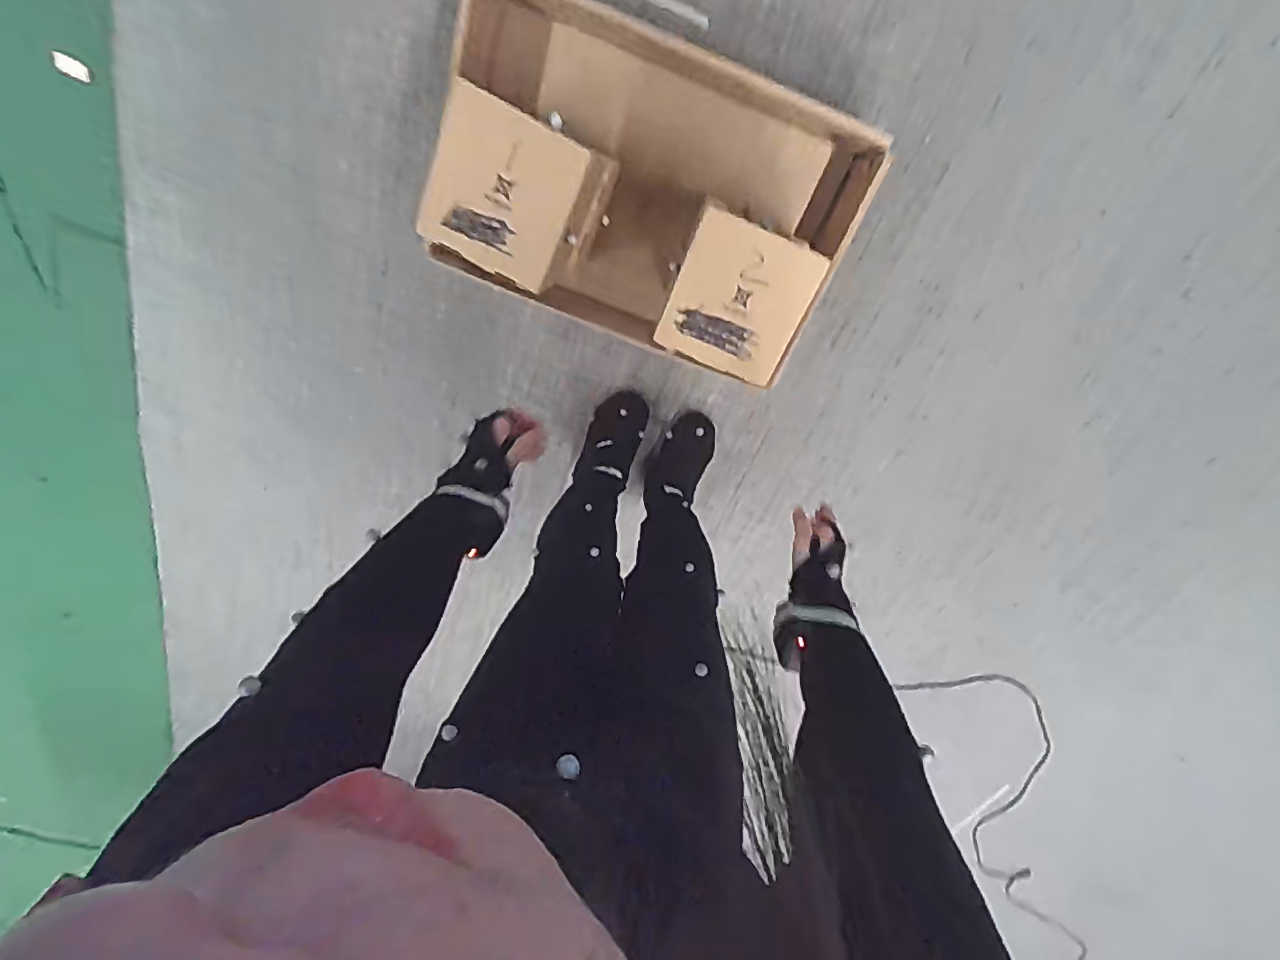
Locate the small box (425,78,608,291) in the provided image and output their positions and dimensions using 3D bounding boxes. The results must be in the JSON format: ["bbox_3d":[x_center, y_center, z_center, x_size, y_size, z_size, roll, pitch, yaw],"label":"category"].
[{"bbox_3d":[-0.152,-0.379,0.714,0.168,0.176,0.179,26,116,-9],"label":"small box"}]
